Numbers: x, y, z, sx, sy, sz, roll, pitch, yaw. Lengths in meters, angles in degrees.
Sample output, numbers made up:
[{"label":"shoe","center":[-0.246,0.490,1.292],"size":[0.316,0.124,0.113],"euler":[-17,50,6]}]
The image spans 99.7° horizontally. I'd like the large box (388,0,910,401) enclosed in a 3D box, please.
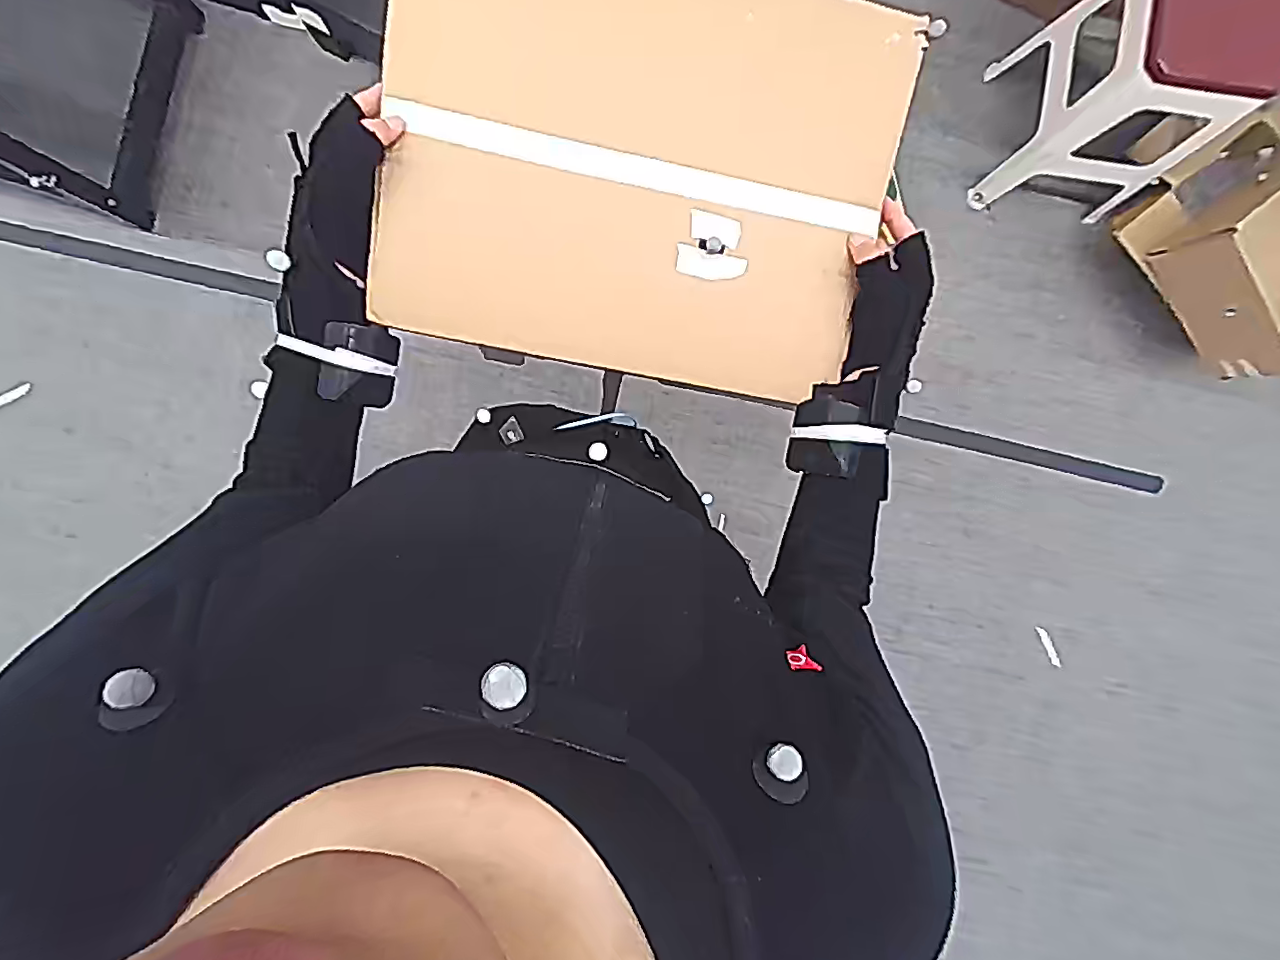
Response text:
[{"label":"large box","center":[-0.011,-0.279,0.594],"size":[0.408,0.320,0.320],"euler":[9,102,-8]}]
